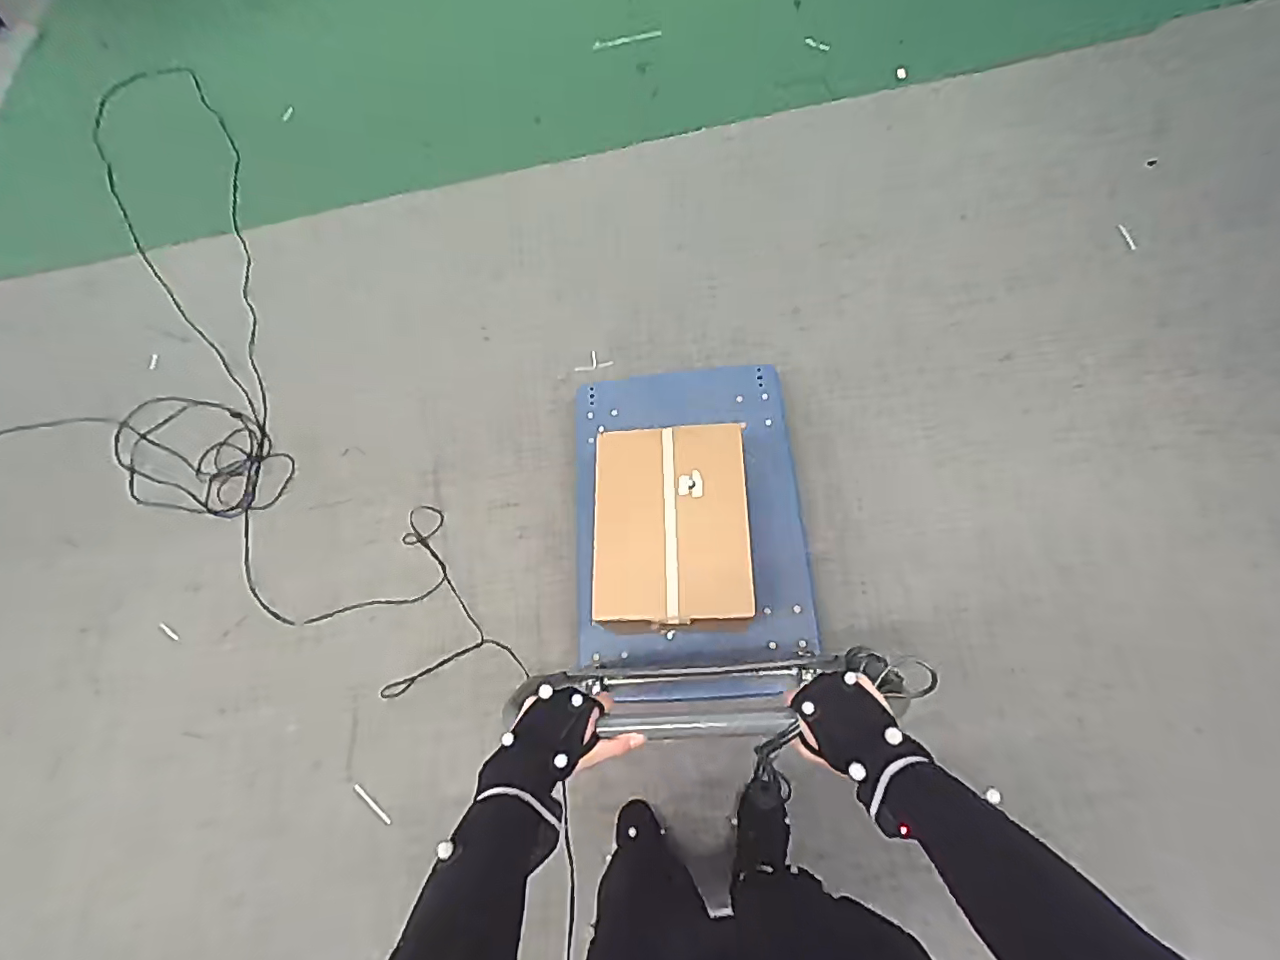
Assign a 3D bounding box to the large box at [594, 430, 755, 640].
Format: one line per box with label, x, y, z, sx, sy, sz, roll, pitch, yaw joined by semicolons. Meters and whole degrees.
large box;0.080;0.141;1.237;0.320;0.320;0.408;-3;68;7
